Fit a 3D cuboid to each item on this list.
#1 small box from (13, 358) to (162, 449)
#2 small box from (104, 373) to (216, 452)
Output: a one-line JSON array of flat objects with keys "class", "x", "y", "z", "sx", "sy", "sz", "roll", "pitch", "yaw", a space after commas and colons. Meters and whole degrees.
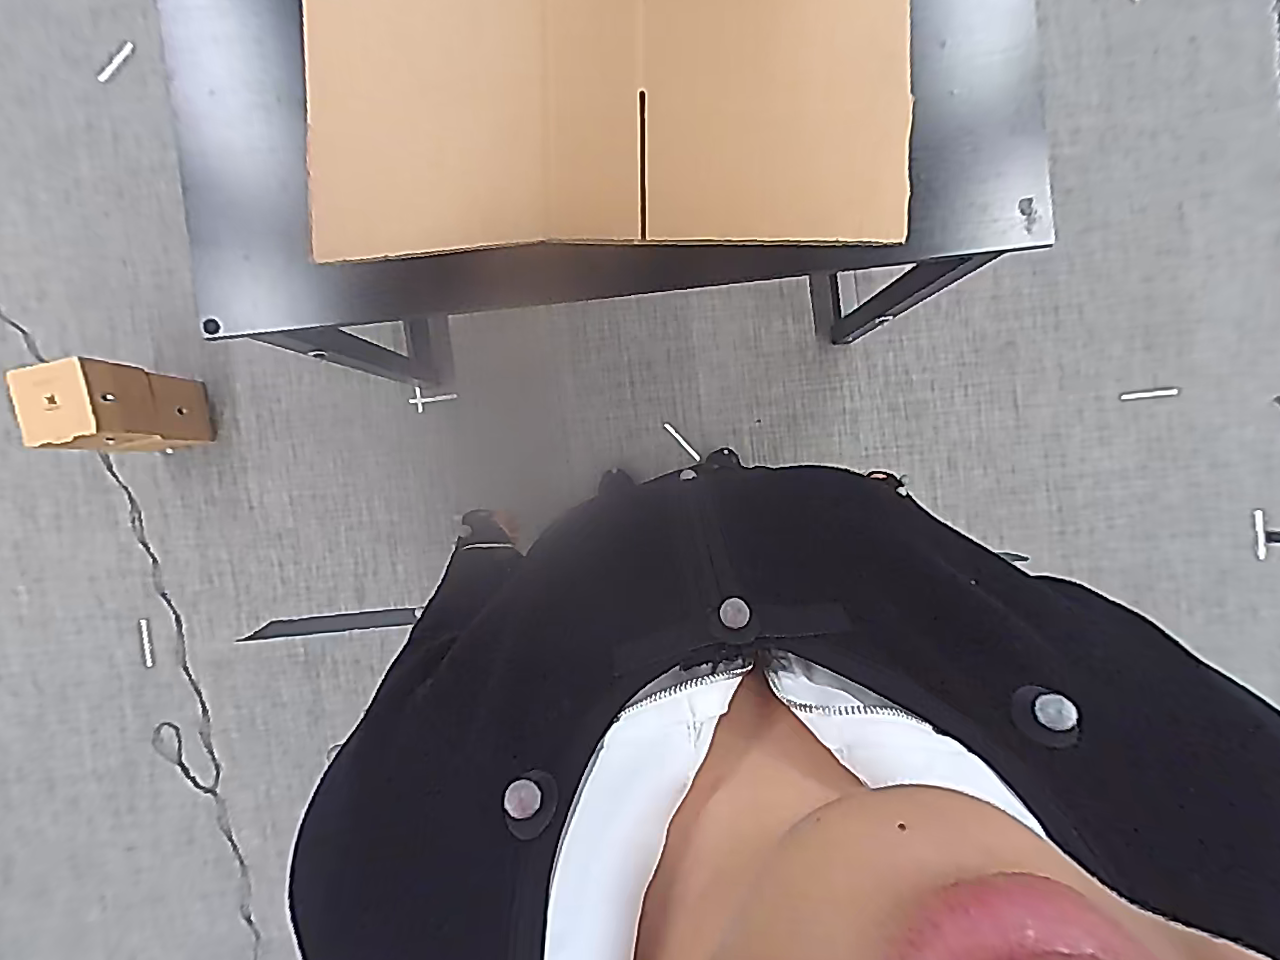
[{"class": "small box", "x": -1.285, "y": -0.173, "z": 1.273, "sx": 0.168, "sy": 0.176, "sz": 0.179, "roll": -13, "pitch": 91, "yaw": 1}, {"class": "small box", "x": -1.281, "y": -0.172, "z": 1.436, "sx": 0.168, "sy": 0.176, "sz": 0.179, "roll": -10, "pitch": 93, "yaw": 1}]
